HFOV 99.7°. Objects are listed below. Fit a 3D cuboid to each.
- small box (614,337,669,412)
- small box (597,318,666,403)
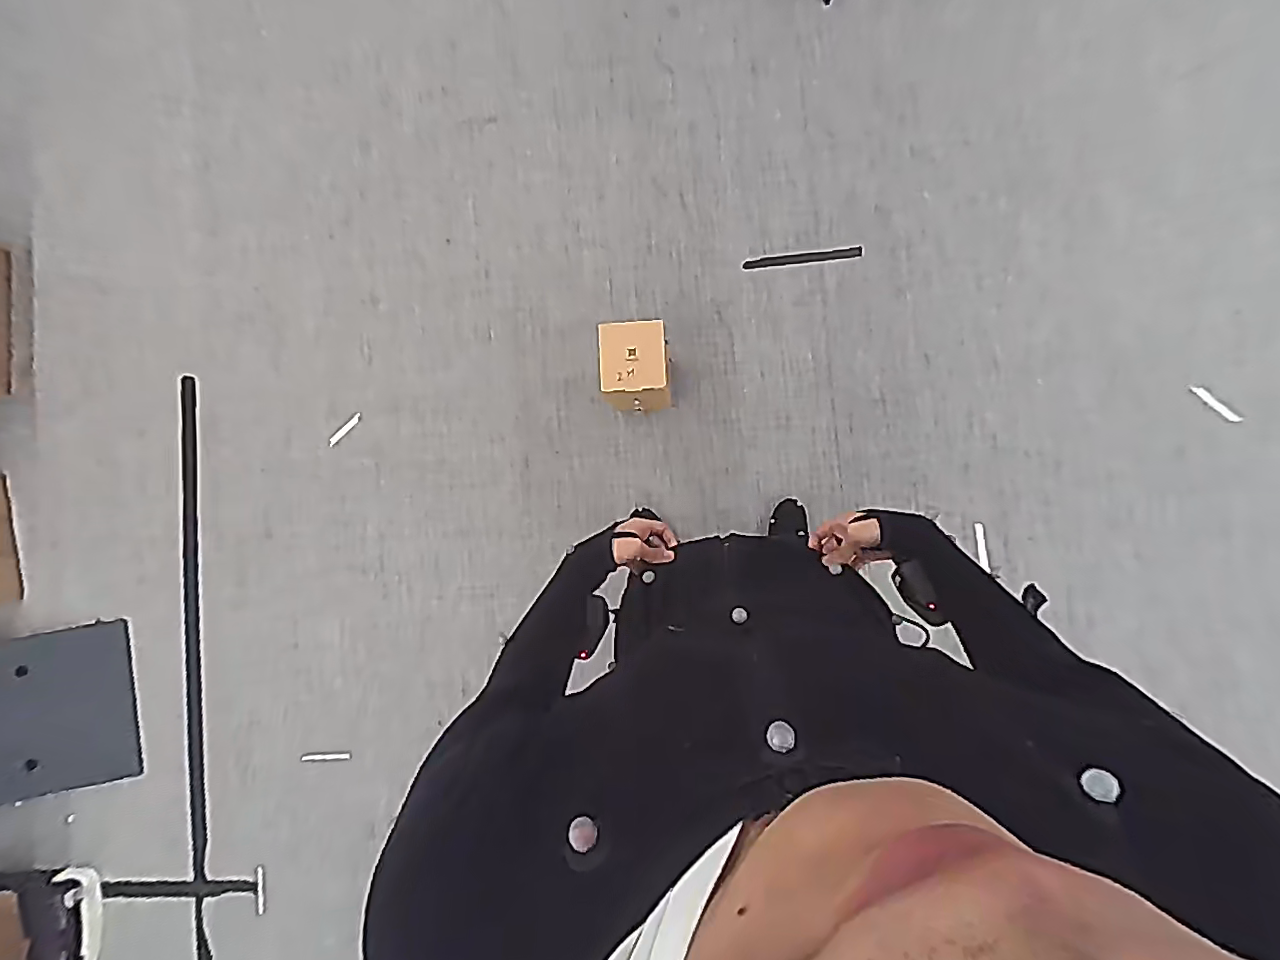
[{"bbox_3d":[-0.001,-0.304,1.579,0.168,0.176,0.179,-2,87,5],"label":"small box"},{"bbox_3d":[-0.019,-0.308,1.416,0.168,0.176,0.179,-2,87,5],"label":"small box"}]
